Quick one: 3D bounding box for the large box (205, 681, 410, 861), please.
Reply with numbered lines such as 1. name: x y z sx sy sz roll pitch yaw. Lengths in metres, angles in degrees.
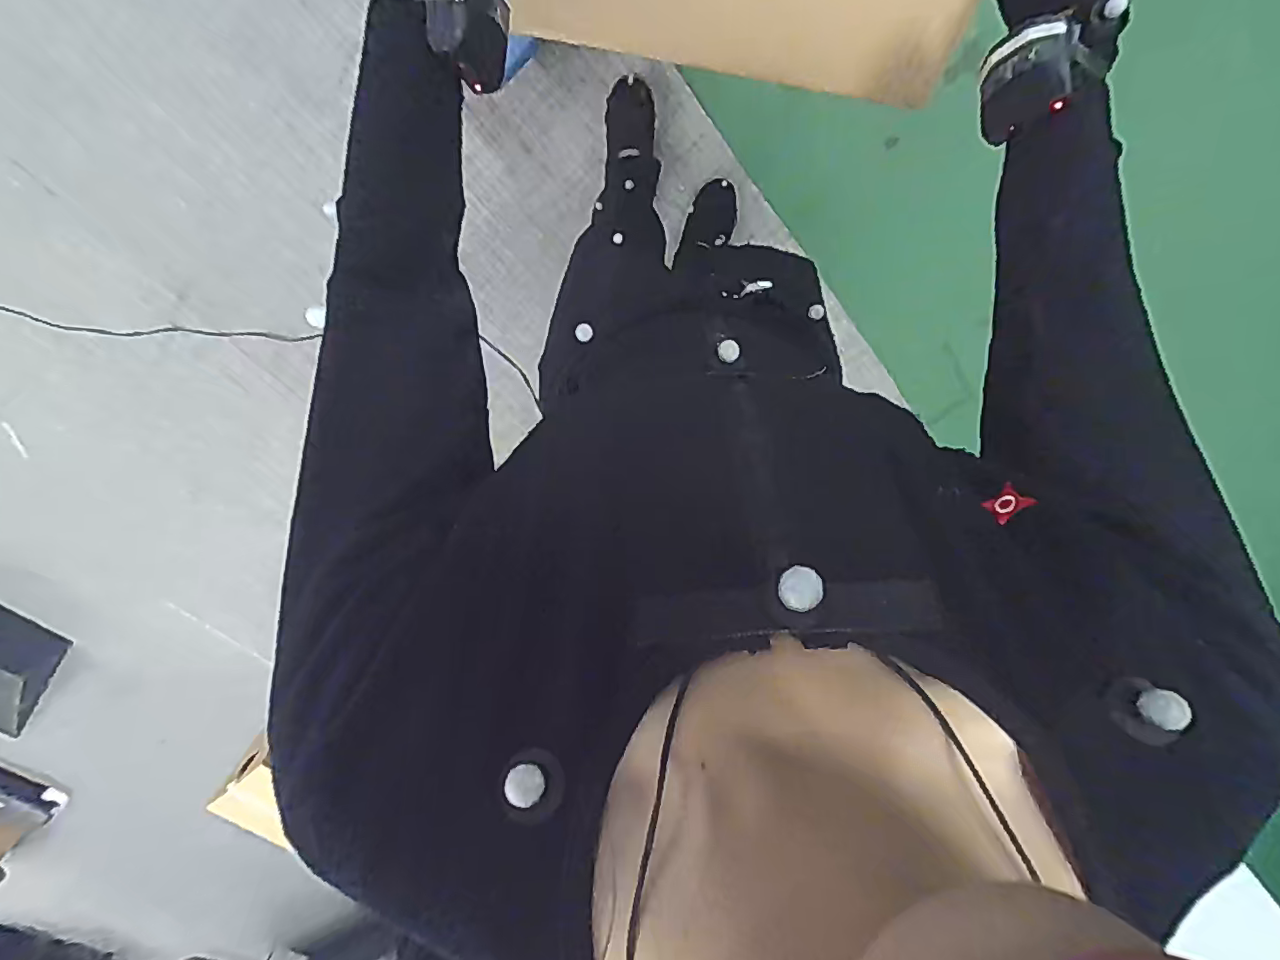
1. large box: -1.052 0.940 1.758 0.320 0.320 0.408 -38 112 18
